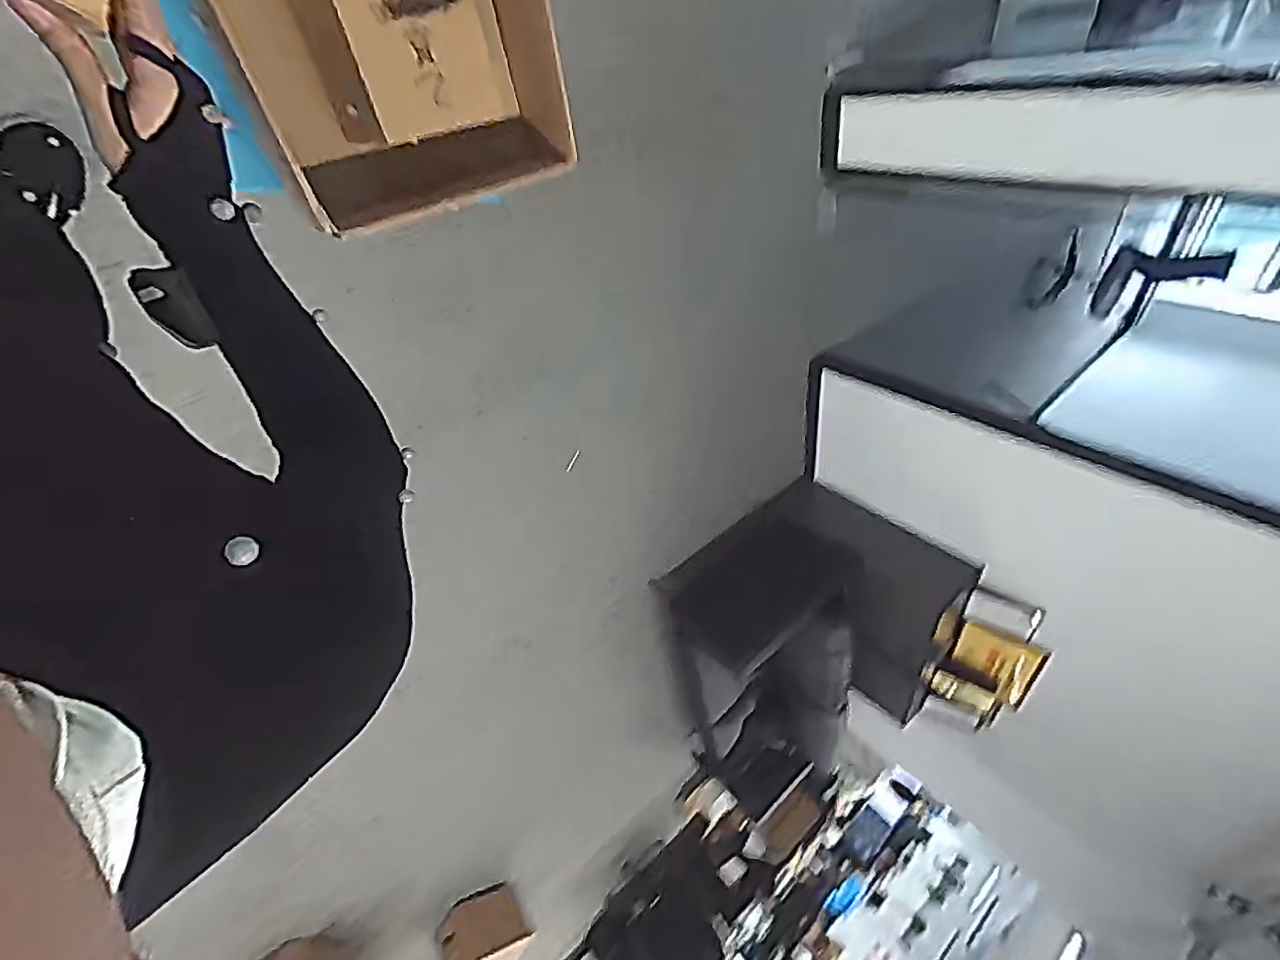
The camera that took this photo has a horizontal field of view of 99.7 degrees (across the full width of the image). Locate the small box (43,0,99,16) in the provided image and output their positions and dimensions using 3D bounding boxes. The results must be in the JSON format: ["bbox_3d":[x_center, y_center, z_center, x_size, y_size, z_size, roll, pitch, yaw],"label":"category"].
[{"bbox_3d":[-0.320,-0.341,0.218,0.168,0.176,0.179,11,112,-50],"label":"small box"}]

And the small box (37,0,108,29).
[{"bbox_3d":[-0.424,-0.416,0.317,0.179,0.176,0.168,11,112,-49],"label":"small box"}]
